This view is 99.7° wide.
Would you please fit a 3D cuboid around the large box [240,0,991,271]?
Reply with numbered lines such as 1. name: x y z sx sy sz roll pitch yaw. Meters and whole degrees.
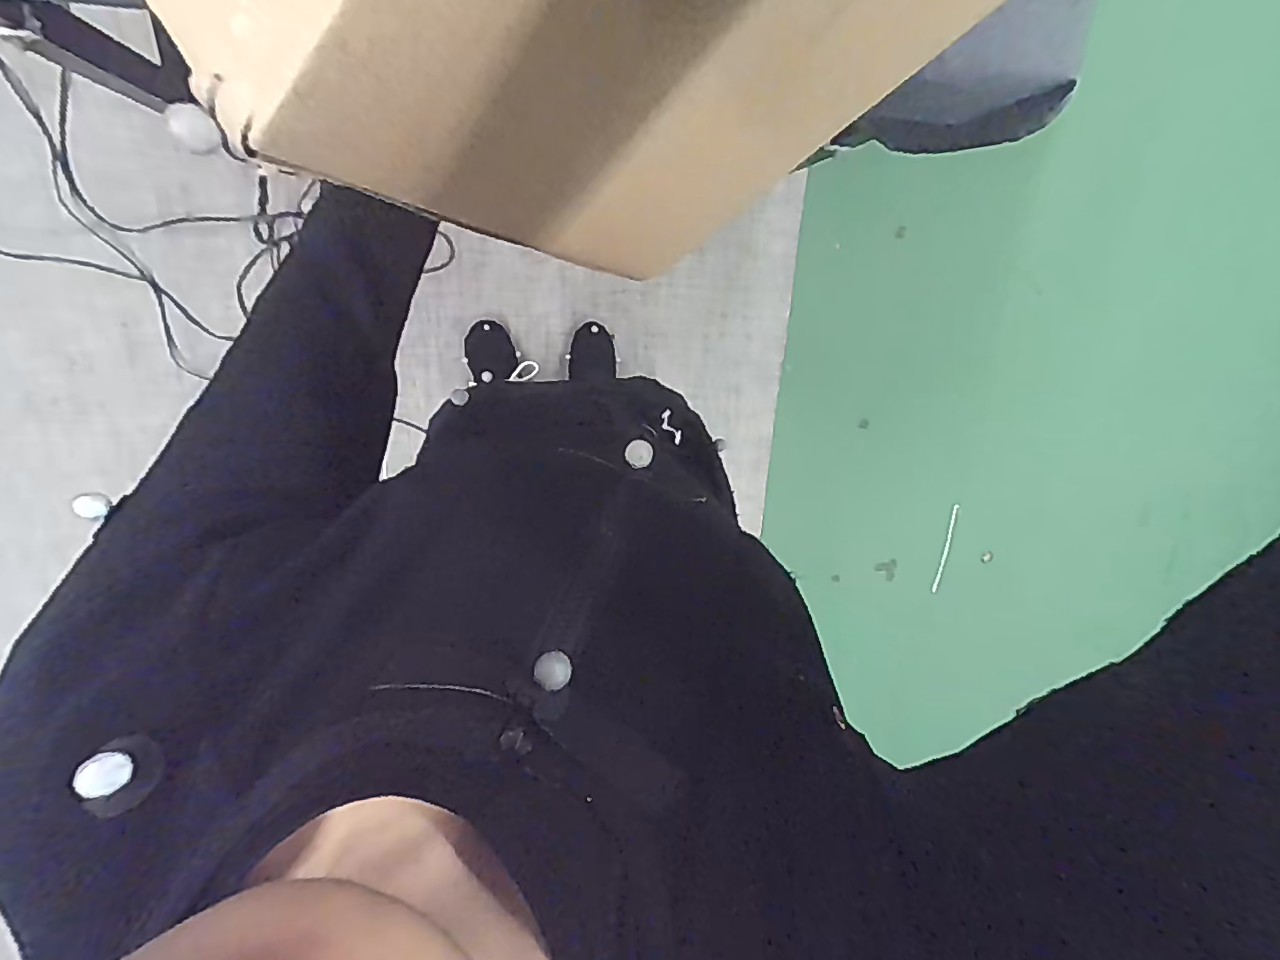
1. large box: 0.034 -0.357 0.227 0.408 0.320 0.320 -32 87 27
